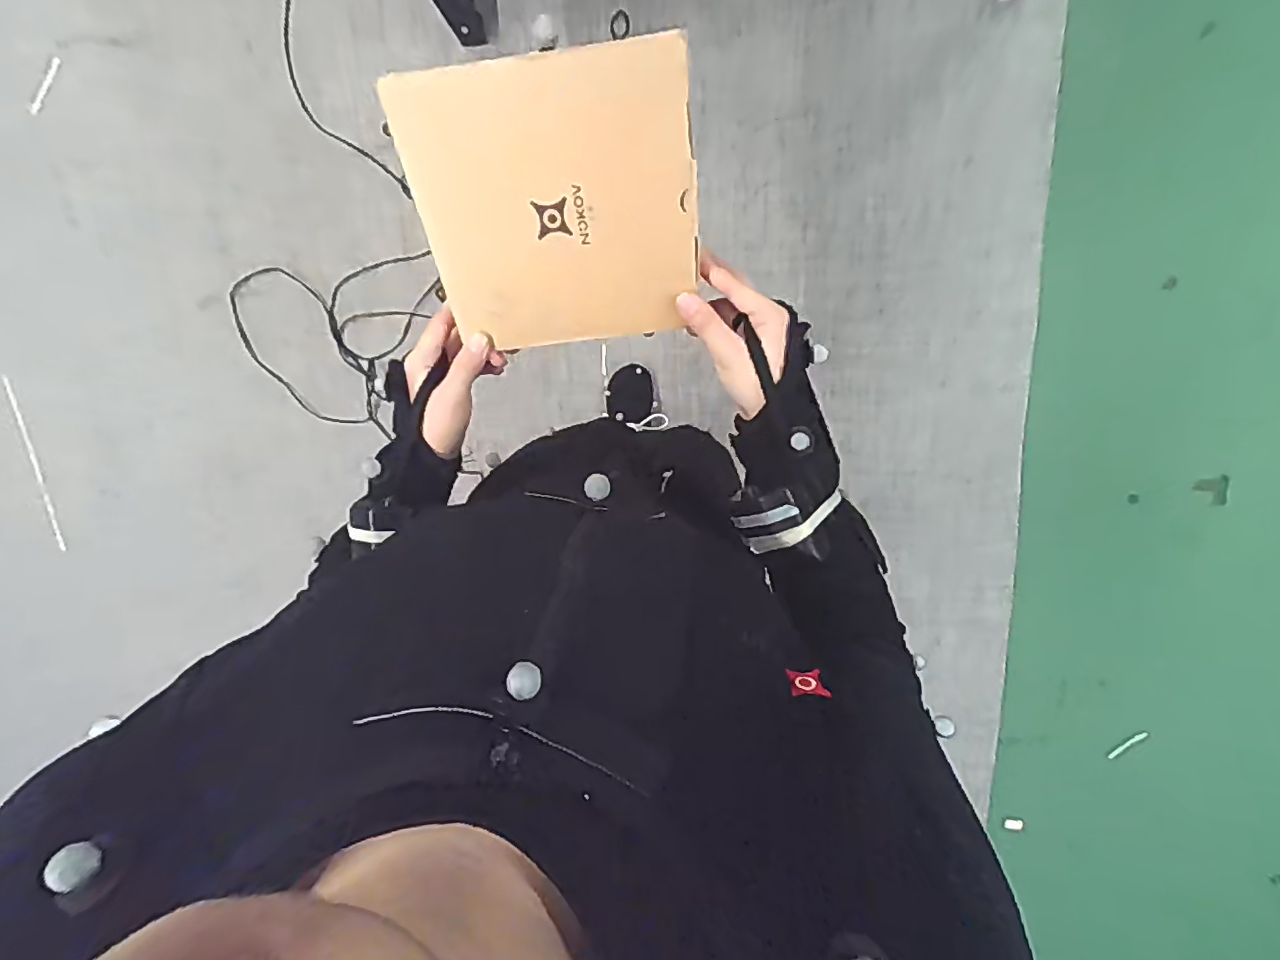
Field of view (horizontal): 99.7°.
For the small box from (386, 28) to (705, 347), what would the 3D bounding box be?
[{"bbox_3d":[-0.049,-0.216,0.403,0.179,0.176,0.168,-6,127,2],"label":"small box"}]
